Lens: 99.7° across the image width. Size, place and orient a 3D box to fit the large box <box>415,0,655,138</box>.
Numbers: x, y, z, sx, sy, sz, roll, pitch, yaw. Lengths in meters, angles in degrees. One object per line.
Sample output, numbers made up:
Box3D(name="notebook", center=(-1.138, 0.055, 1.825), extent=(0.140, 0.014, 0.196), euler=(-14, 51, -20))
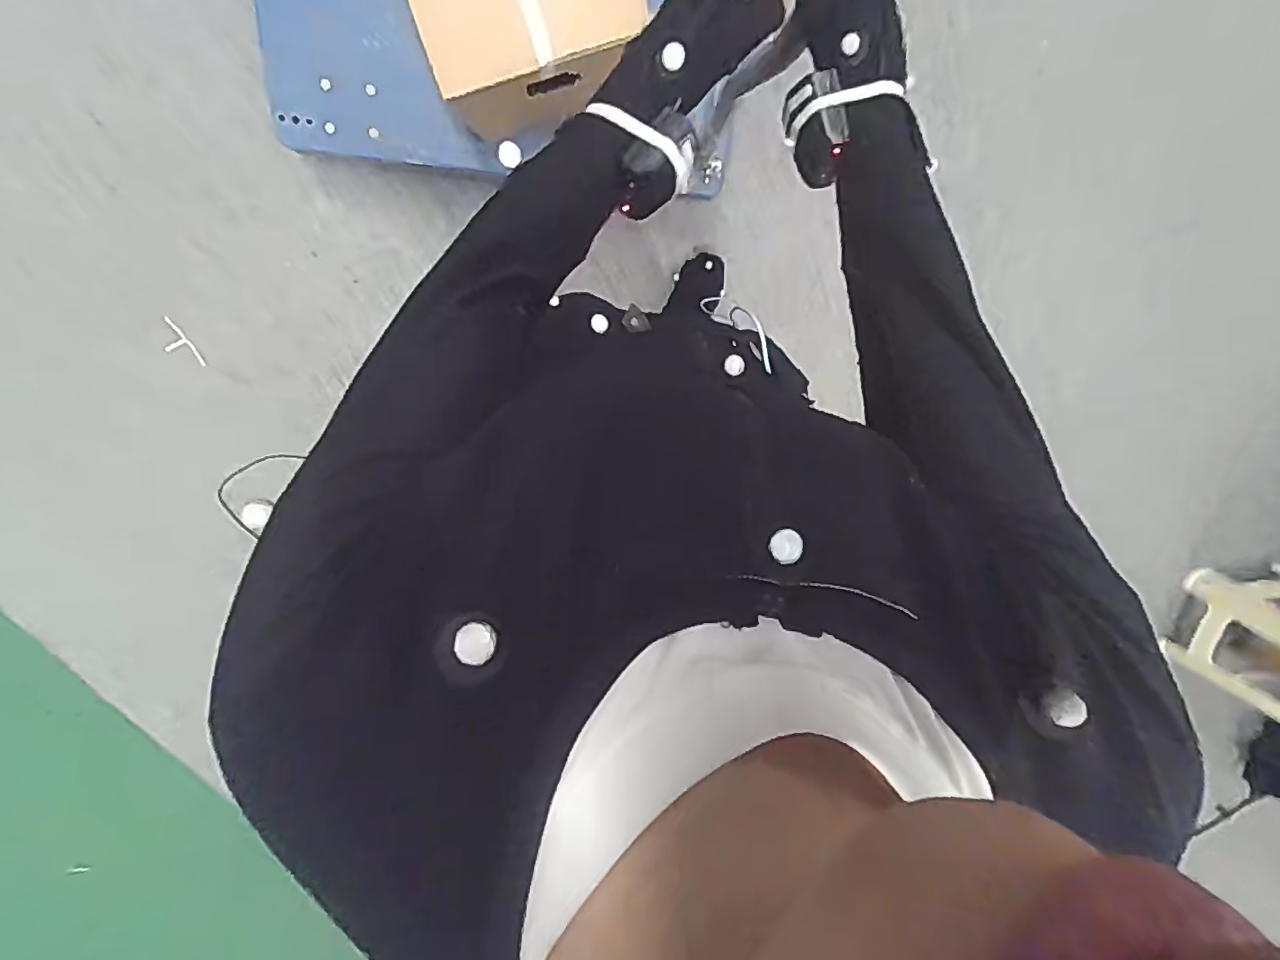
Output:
Box3D(name="large box", center=(-0.192, -0.824, 0.833), extent=(0.320, 0.320, 0.408), euler=(-17, 113, 5))
